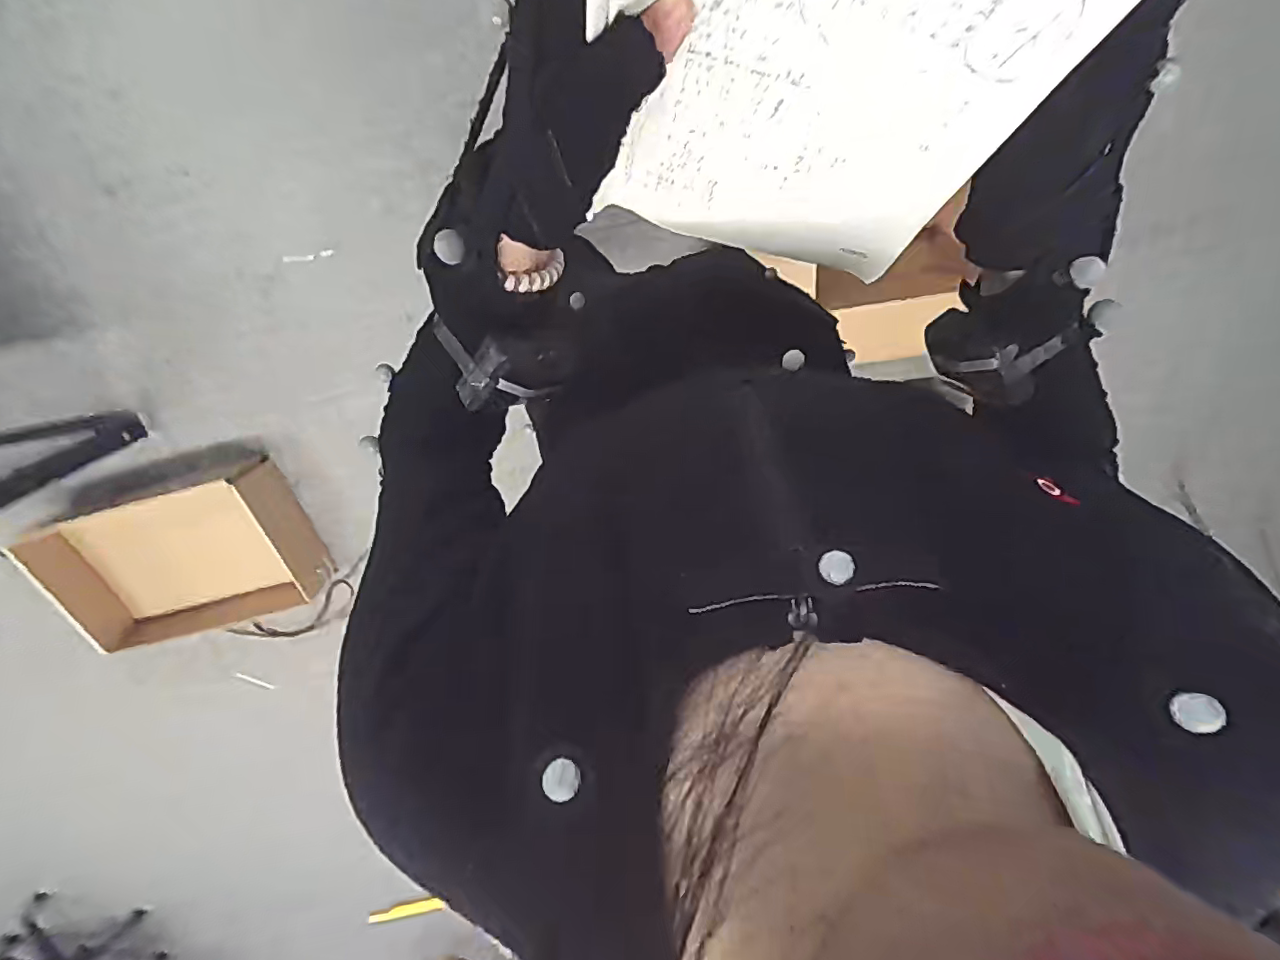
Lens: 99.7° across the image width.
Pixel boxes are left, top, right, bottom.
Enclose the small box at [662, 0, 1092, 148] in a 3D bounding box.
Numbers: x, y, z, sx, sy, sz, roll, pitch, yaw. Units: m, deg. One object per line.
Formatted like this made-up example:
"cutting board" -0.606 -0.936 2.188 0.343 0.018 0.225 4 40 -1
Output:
"small box" 0.099 -0.278 0.235 0.179 0.176 0.168 0 156 3
